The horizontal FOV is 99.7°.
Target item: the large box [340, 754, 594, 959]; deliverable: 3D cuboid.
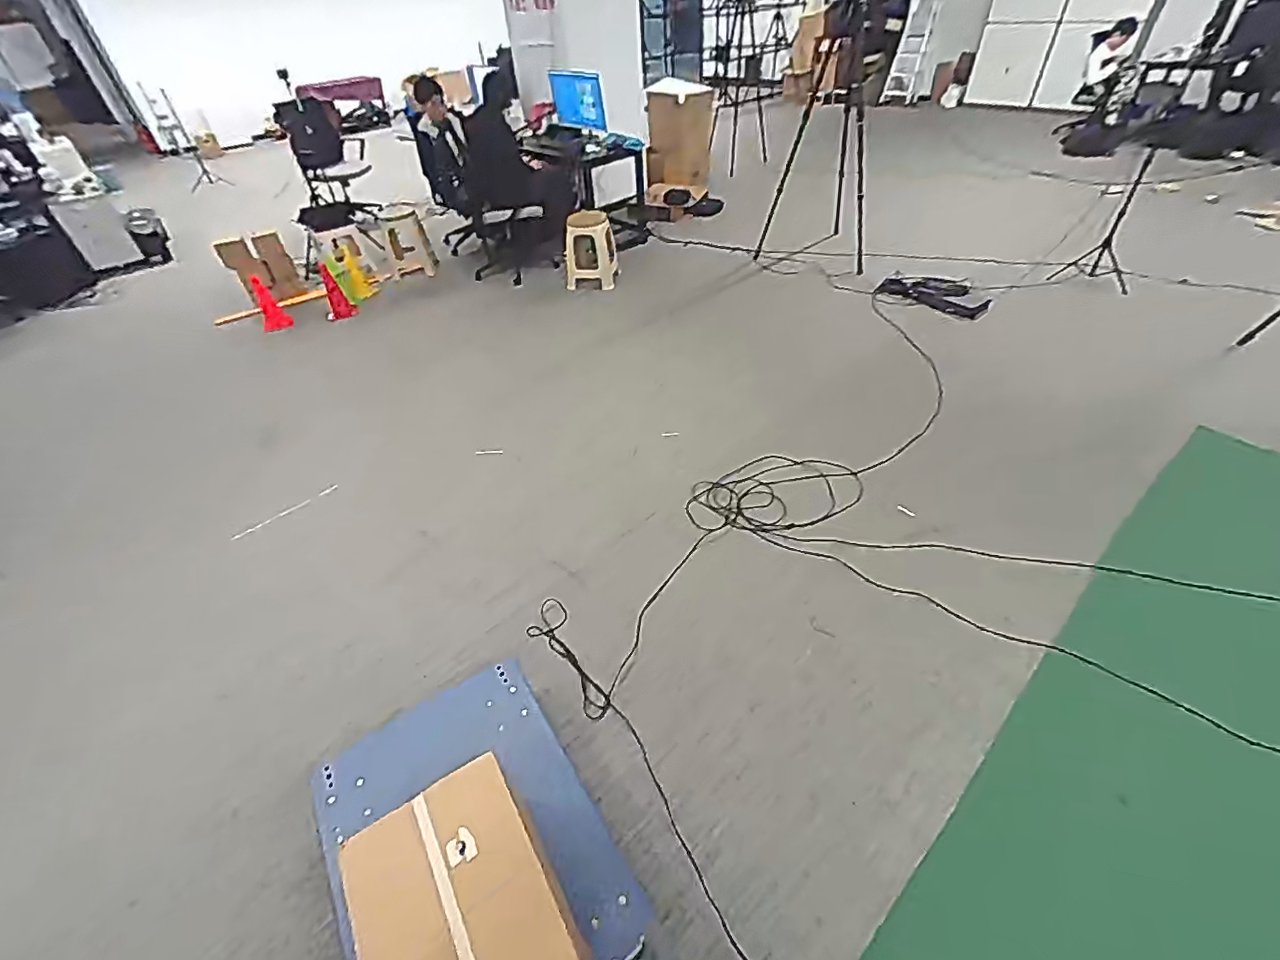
[{"bbox_3d":[-0.319,0.845,1.046,0.320,0.320,0.408,-25,46,-22],"label":"large box"}]
